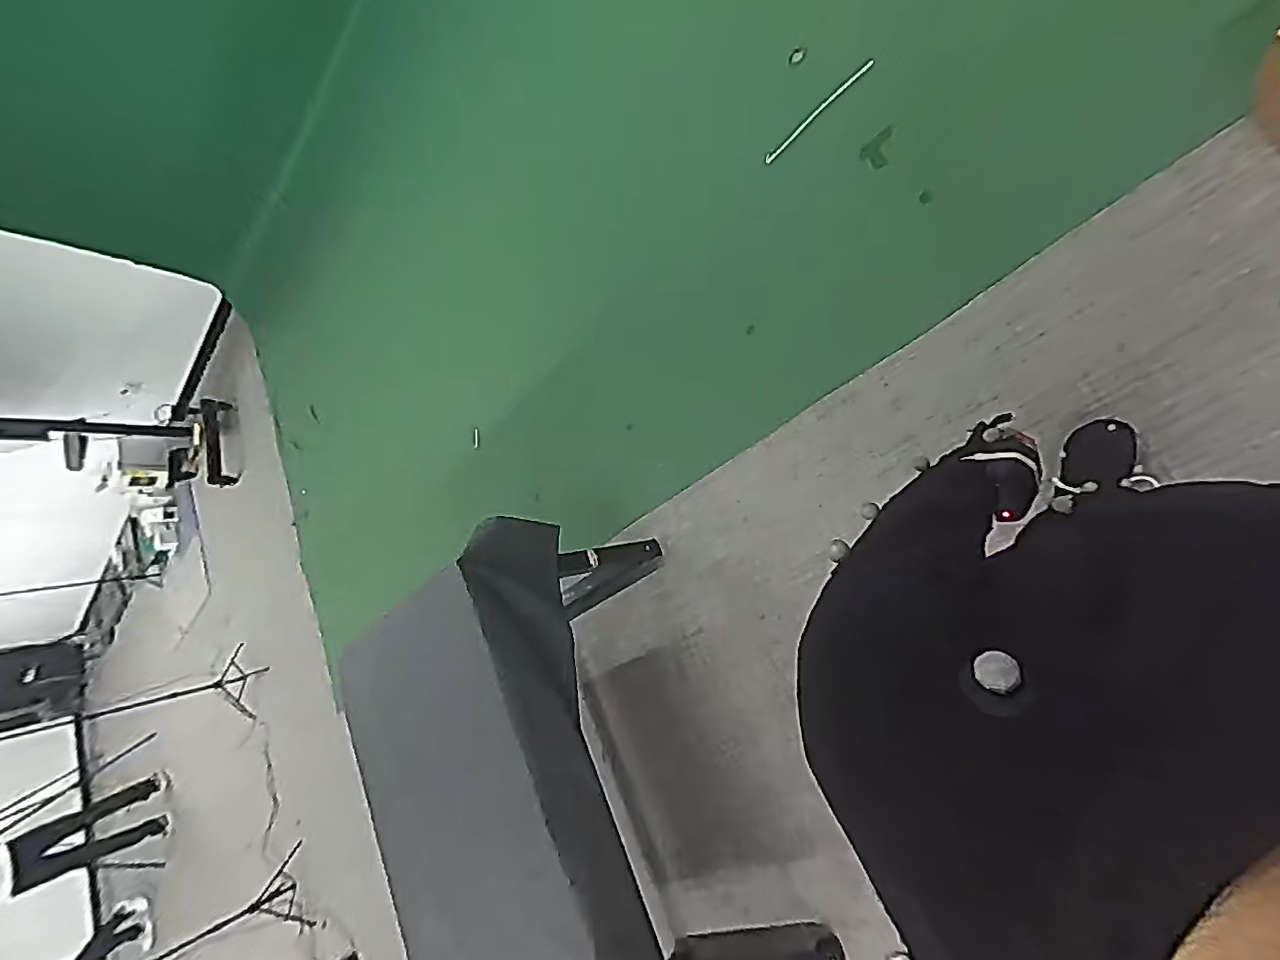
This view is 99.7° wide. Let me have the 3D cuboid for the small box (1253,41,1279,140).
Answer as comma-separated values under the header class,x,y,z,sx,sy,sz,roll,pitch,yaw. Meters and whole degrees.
class,x,y,z,sx,sy,sz,roll,pitch,yaw
small box,1.117,-0.632,0.828,0.168,0.176,0.179,-27,74,32
